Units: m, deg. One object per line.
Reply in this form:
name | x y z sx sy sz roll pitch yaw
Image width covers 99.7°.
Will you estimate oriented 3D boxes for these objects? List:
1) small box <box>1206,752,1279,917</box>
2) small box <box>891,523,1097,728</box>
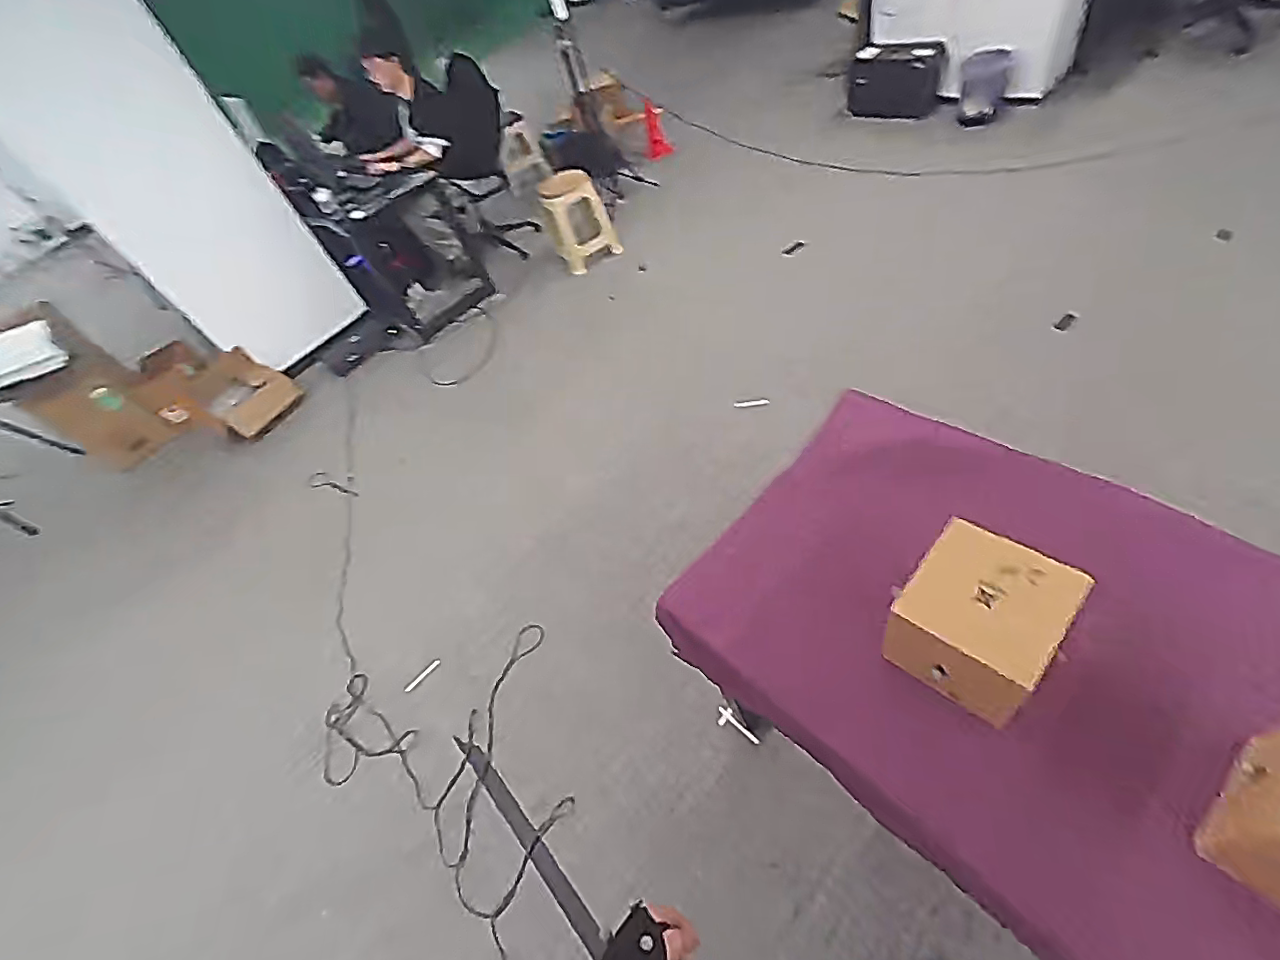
small box | 0.712 0.363 0.507 0.168 0.176 0.179 -41 50 -15
small box | 0.459 0.199 0.729 0.168 0.176 0.179 32 68 36
